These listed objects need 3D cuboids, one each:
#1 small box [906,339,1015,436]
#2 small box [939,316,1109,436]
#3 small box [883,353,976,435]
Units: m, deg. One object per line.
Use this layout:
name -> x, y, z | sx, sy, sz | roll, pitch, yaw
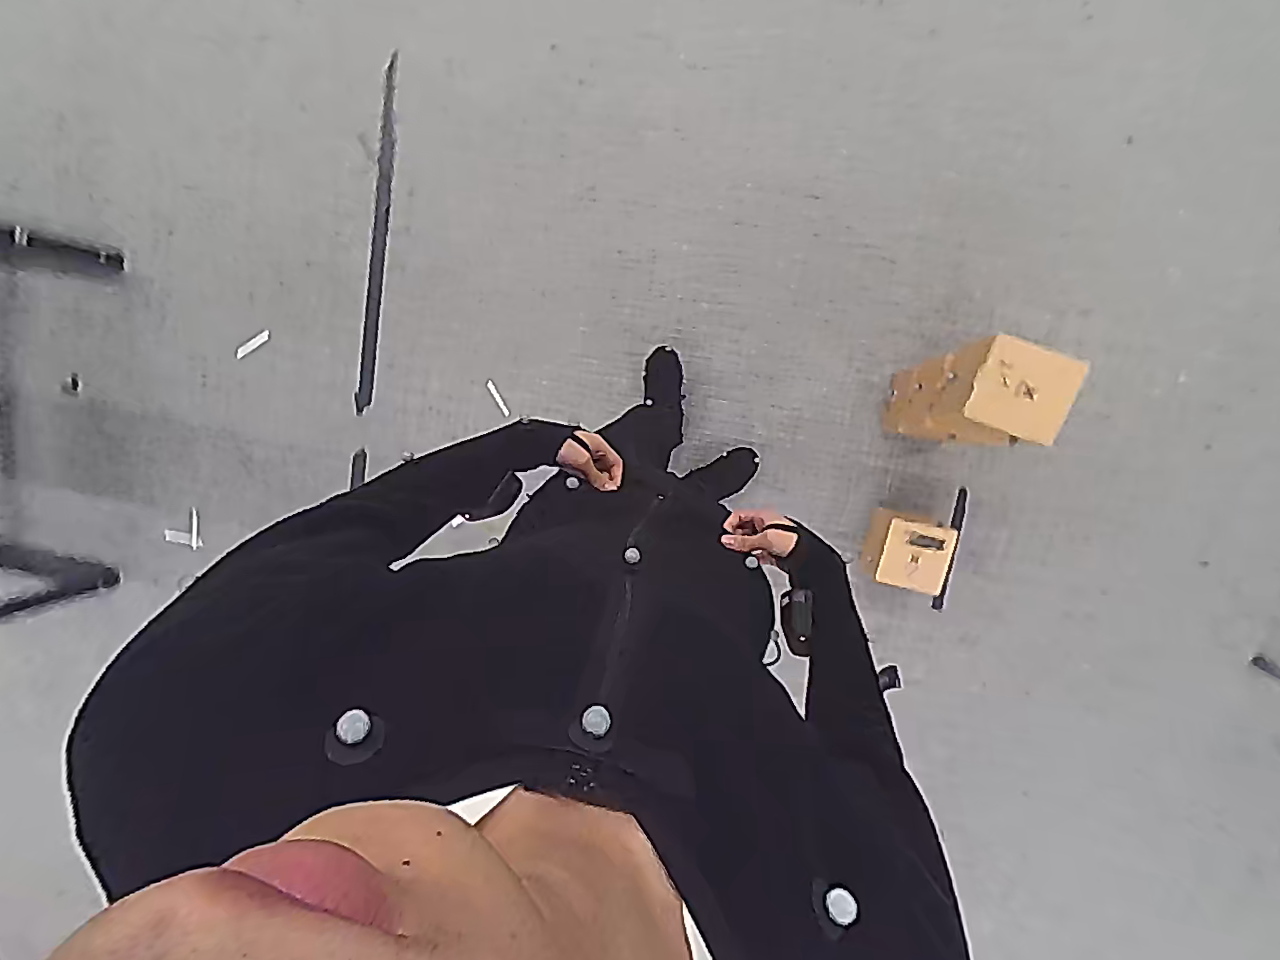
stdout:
small box -> 0.728, -0.203, 1.200 | 0.179, 0.176, 0.168 | 16, 99, 6
small box -> 0.718, -0.196, 1.035 | 0.179, 0.176, 0.168 | 22, 99, 5
small box -> 0.743, -0.216, 1.360 | 0.179, 0.176, 0.168 | 13, 99, 6
